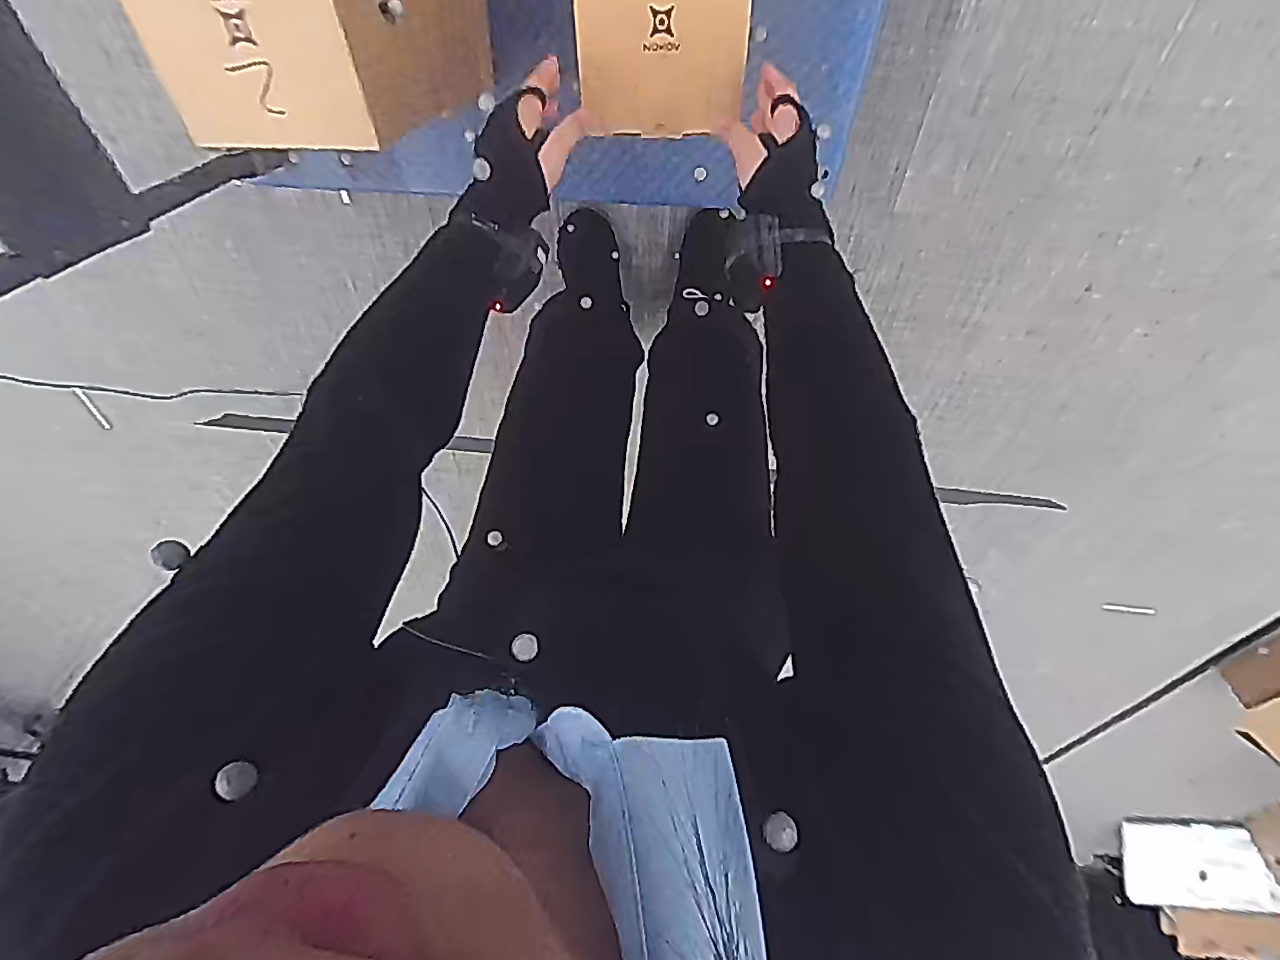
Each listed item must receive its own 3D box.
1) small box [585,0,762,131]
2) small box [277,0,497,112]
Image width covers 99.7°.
[{"bbox_3d":[0.036,-0.482,0.561,0.168,0.176,0.179,3,135,5],"label":"small box"},{"bbox_3d":[-0.257,-0.513,0.564,0.168,0.176,0.179,7,135,1],"label":"small box"}]
